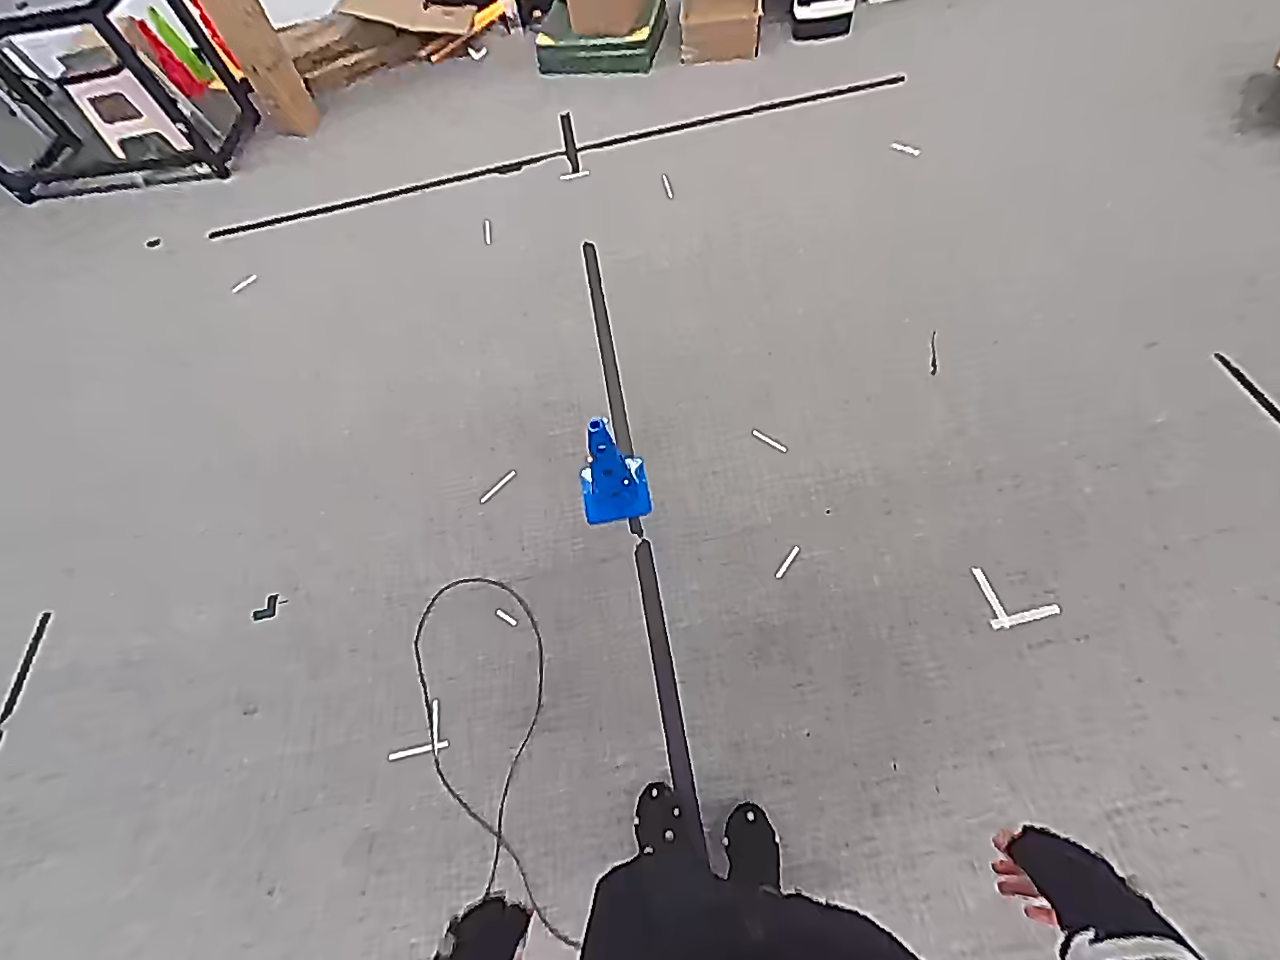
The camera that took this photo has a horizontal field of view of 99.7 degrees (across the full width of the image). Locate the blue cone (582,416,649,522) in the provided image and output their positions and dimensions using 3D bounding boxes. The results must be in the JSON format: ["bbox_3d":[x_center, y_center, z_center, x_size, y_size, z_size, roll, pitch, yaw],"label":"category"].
[{"bbox_3d":[-0.093,-0.048,1.481,0.193,0.380,0.192,-13,61,1],"label":"blue cone"}]
